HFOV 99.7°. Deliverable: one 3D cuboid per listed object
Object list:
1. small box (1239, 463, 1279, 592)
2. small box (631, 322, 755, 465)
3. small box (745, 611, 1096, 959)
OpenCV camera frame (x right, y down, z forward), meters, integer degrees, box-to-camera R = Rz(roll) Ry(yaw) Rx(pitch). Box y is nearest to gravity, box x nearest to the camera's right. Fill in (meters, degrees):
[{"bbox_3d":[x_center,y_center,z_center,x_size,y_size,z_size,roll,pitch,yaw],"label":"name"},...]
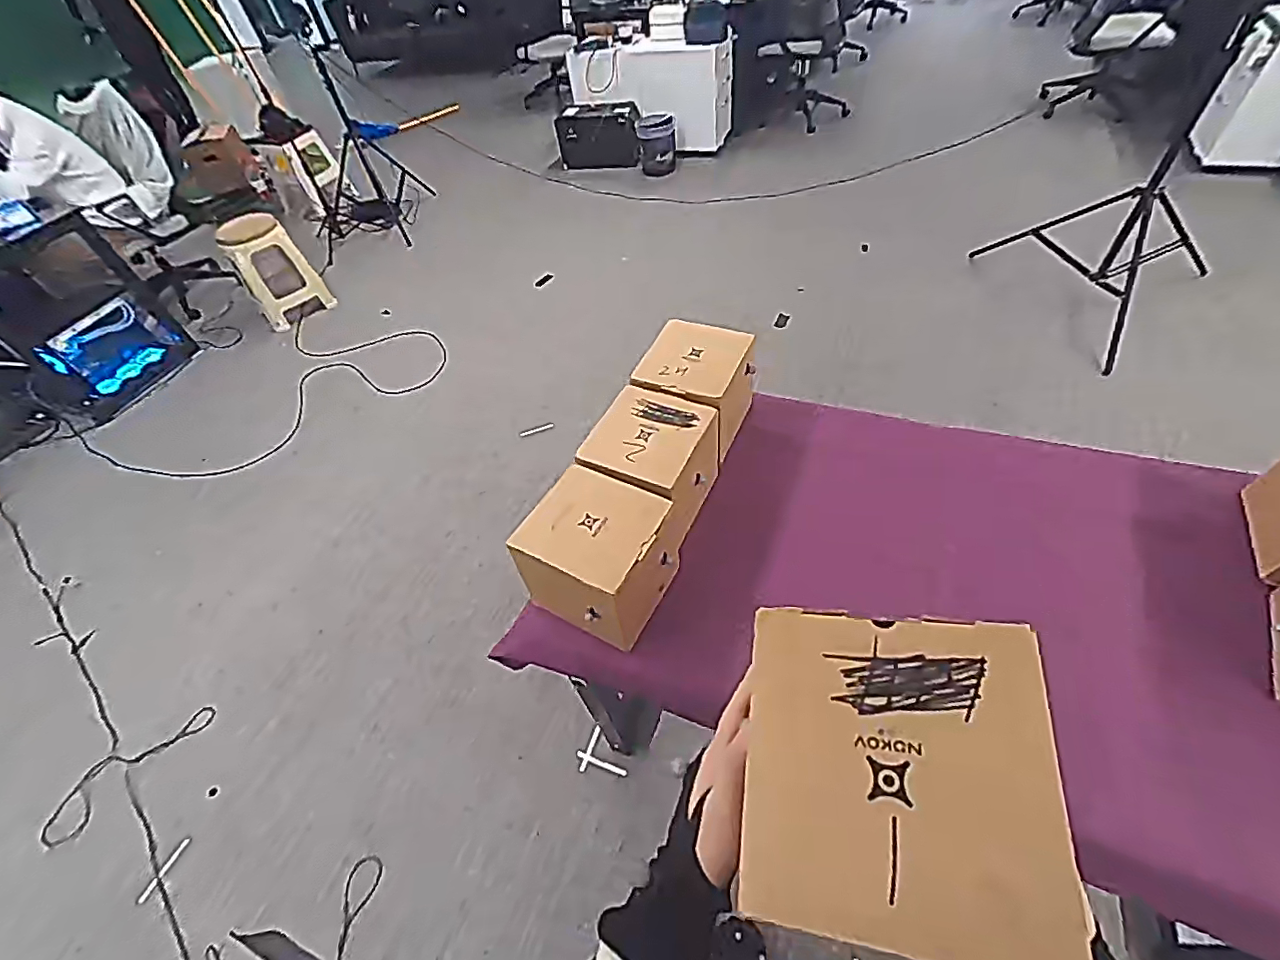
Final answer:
[{"bbox_3d":[0.945,0.055,0.700,0.168,0.176,0.179,18,54,20],"label":"small box"},{"bbox_3d":[0.100,-0.159,0.993,0.168,0.176,0.179,17,56,21],"label":"small box"},{"bbox_3d":[0.174,0.207,0.378,0.168,0.176,0.179,-1,60,21],"label":"small box"}]
